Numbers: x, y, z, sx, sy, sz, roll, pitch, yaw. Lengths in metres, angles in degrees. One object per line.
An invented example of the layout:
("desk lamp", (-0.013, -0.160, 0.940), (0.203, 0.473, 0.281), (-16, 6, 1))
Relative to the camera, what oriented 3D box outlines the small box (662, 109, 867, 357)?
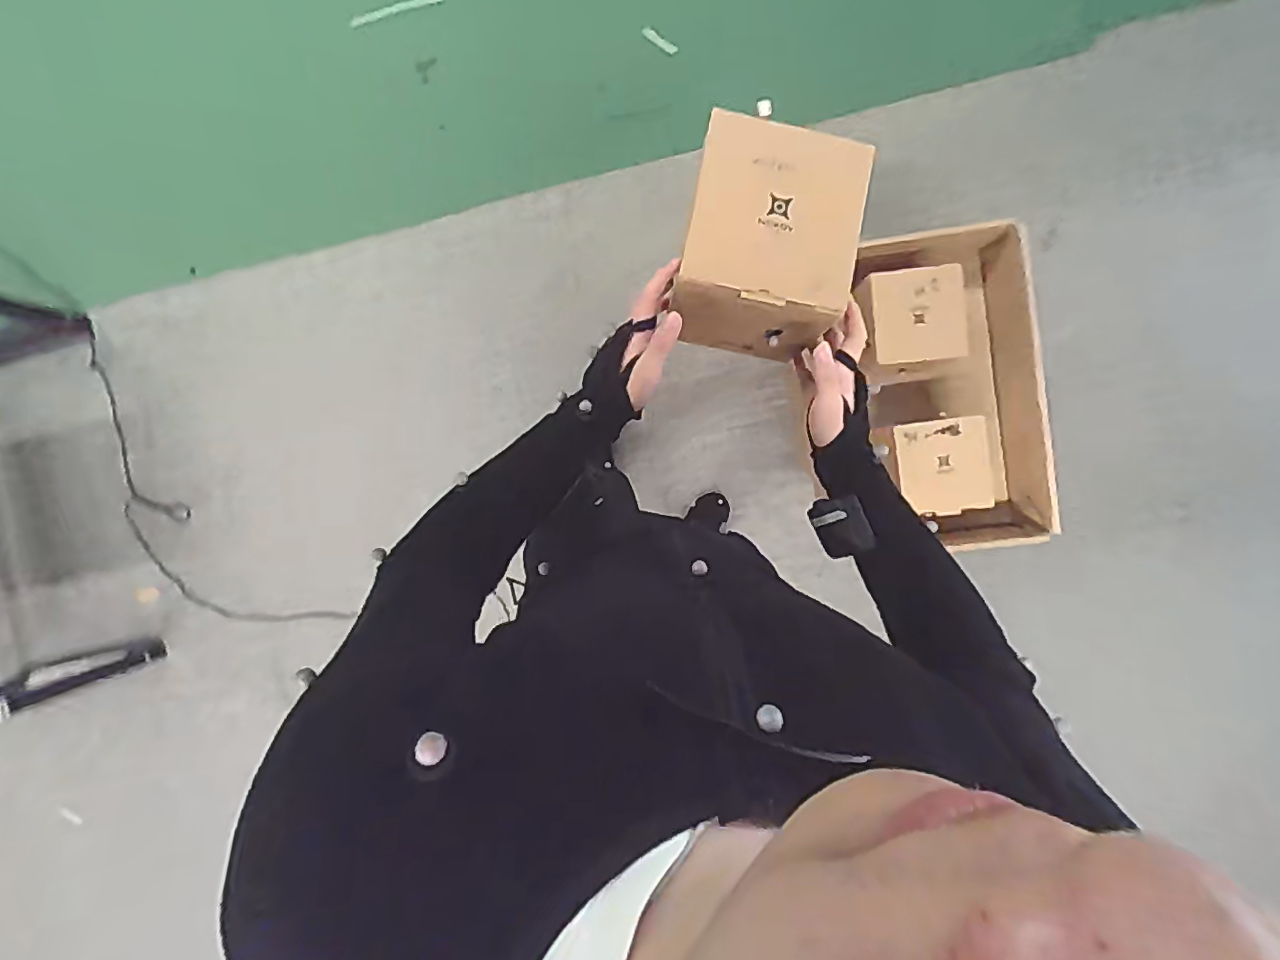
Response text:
("small box", (0.121, -0.251, 0.595), (0.168, 0.176, 0.179), (11, 85, -3))
